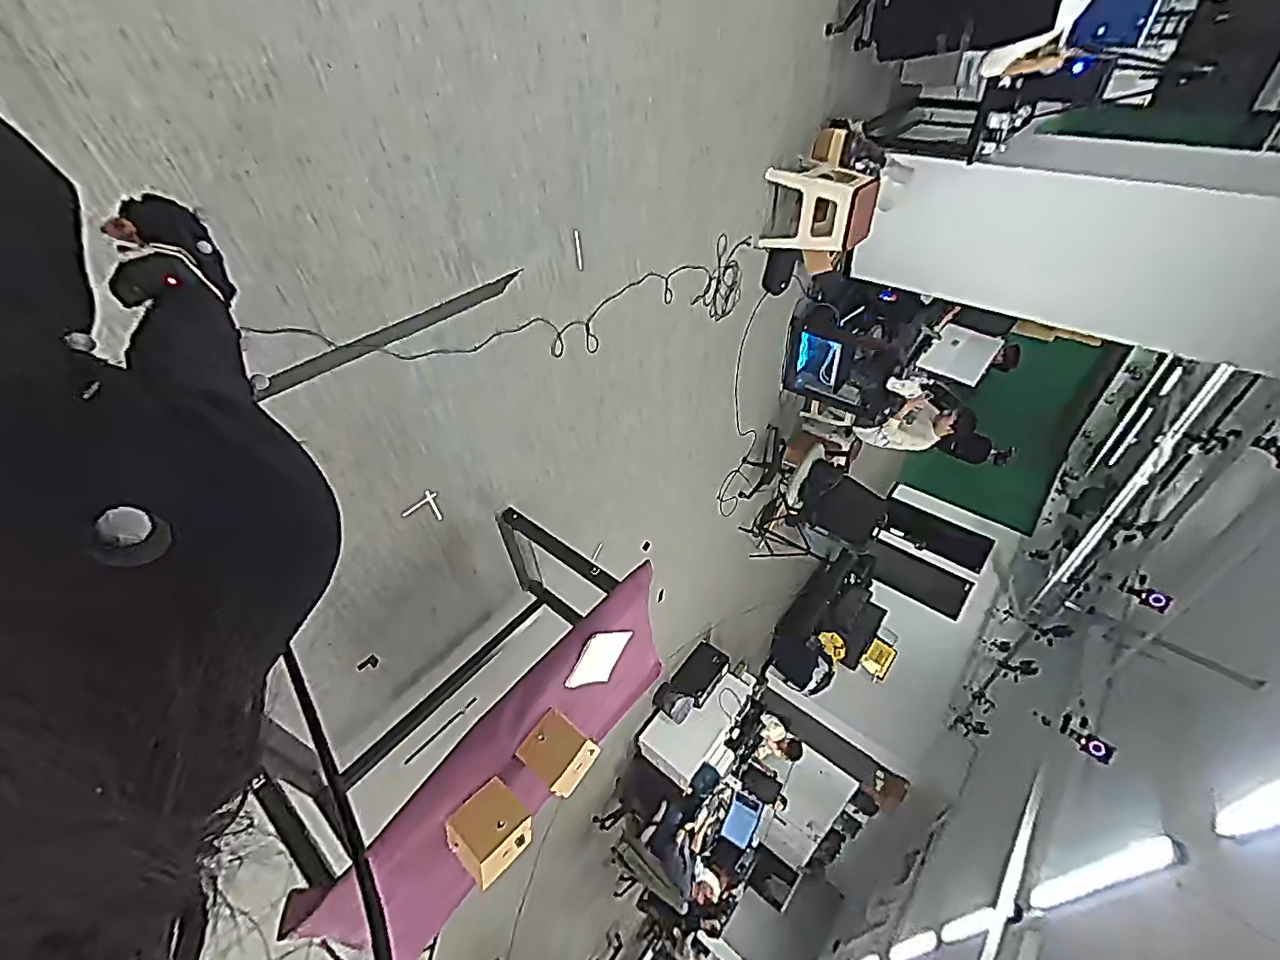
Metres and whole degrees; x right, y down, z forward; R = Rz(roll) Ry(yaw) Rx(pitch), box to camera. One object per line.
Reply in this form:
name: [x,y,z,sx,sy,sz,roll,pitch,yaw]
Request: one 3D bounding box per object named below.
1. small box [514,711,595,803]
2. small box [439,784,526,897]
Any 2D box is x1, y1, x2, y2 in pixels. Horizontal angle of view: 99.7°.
small box: [-0.273,0.870,1.702,0.179,0.176,0.168,-48,148,-22]
small box: [-0.451,1.025,1.551,0.179,0.176,0.168,-28,137,-44]
